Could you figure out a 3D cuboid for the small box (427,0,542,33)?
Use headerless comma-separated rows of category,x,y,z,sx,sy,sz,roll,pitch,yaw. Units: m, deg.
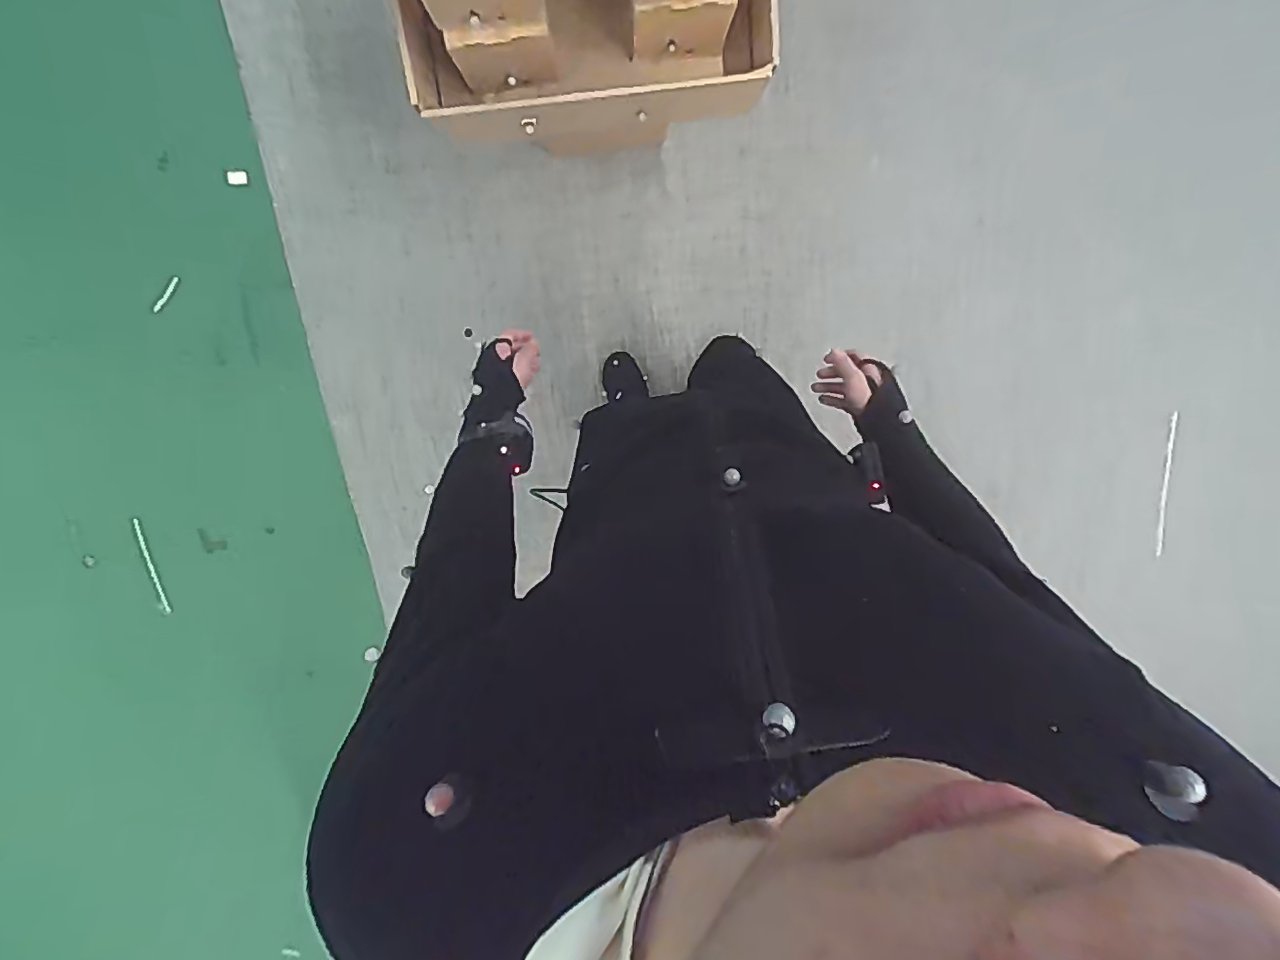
small box,-0.234,-0.766,0.745,0.168,0.176,0.179,-4,104,0
